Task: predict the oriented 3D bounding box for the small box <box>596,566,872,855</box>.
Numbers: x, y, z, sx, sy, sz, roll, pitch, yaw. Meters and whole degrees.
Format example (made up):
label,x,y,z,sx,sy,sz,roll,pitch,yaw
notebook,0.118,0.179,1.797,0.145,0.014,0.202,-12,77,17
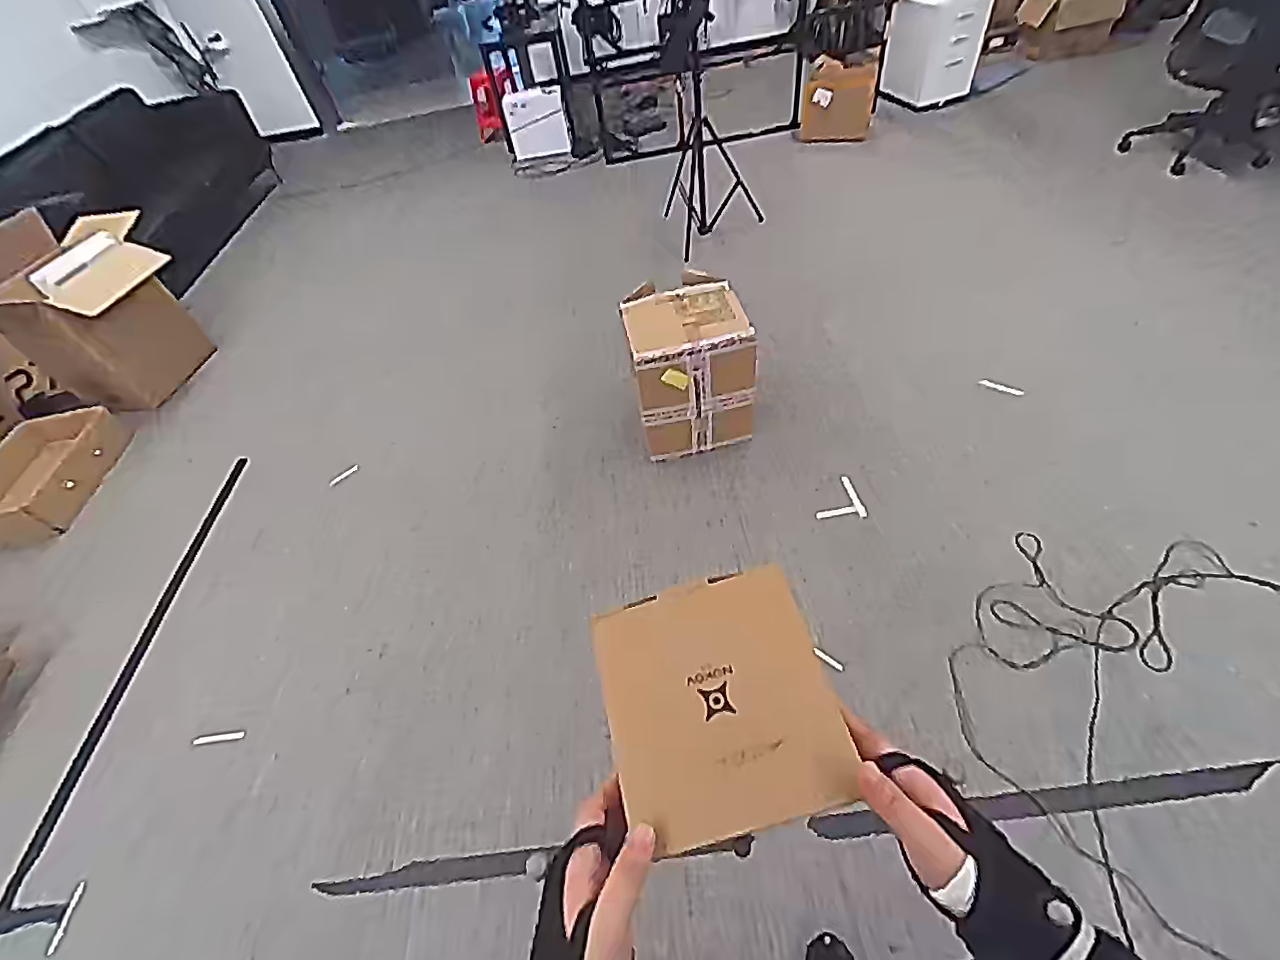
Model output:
label,x,y,z,sx,sy,sz,roll,pitch,yaw
small box,0.069,0.204,0.471,0.168,0.176,0.179,-16,56,0
